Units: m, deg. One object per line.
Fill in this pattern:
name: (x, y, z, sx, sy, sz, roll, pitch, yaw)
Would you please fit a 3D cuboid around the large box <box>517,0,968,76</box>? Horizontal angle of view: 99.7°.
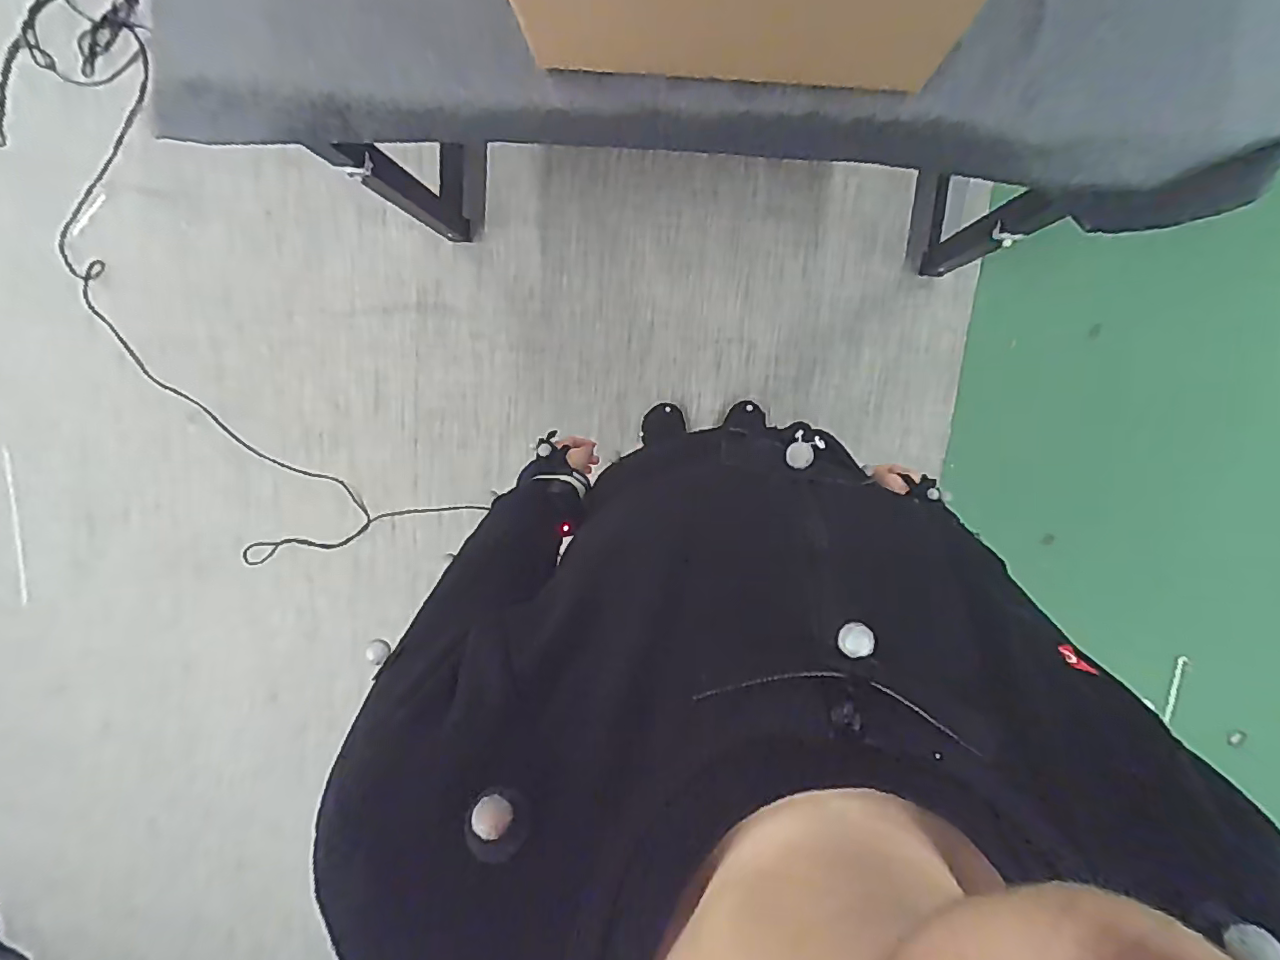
large box: (0.089, -0.559, 0.401, 0.408, 0.320, 0.320, 5, 98, 3)
